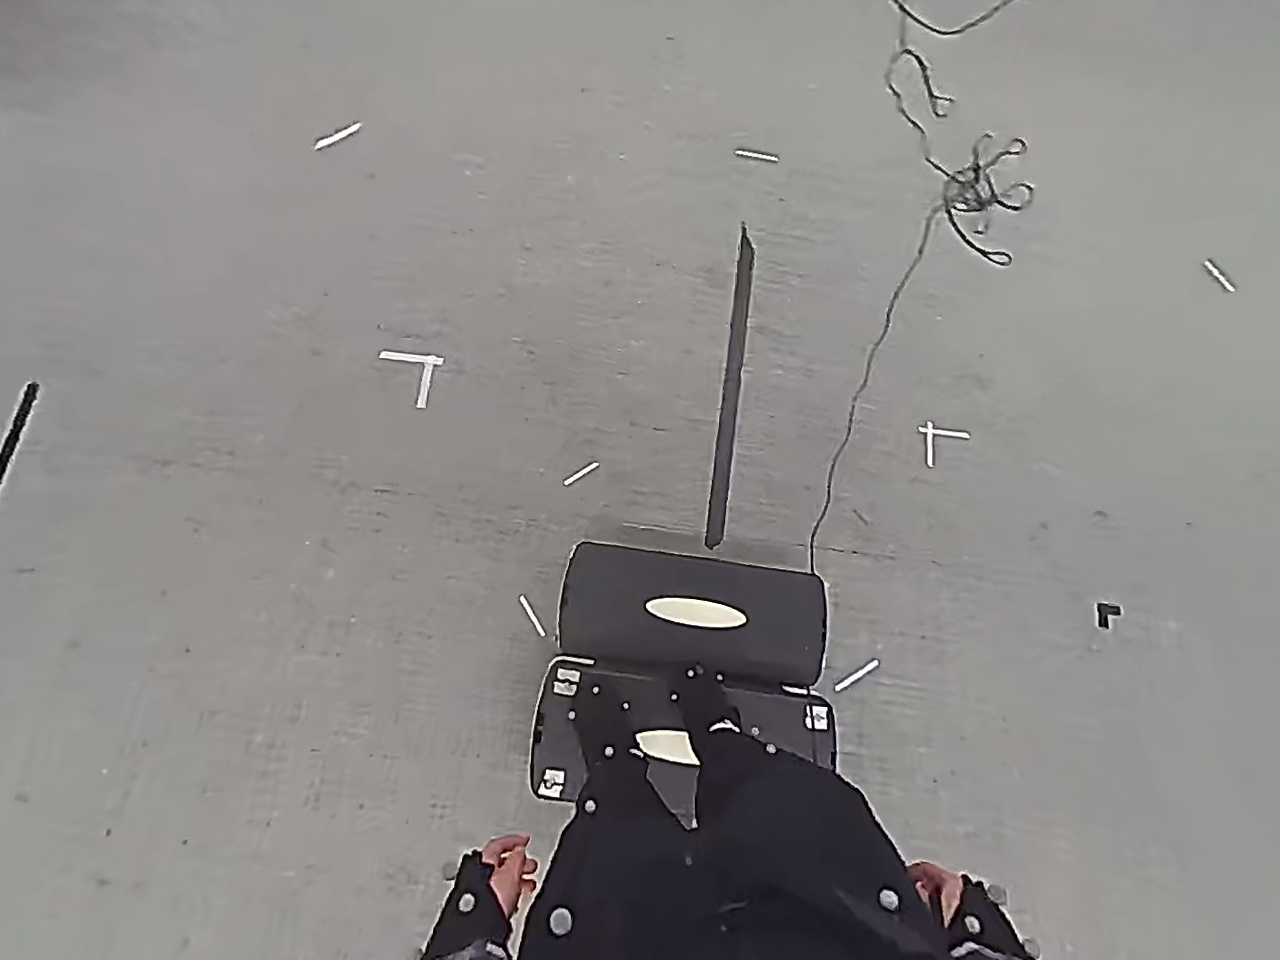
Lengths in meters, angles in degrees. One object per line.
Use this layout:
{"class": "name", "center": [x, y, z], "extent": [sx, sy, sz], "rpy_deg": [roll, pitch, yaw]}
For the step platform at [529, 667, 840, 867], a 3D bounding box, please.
{"class": "step platform", "center": [0.099, 0.640, 1.239], "extent": [0.684, 0.204, 0.286], "rpy_deg": [12, 74, 0]}
